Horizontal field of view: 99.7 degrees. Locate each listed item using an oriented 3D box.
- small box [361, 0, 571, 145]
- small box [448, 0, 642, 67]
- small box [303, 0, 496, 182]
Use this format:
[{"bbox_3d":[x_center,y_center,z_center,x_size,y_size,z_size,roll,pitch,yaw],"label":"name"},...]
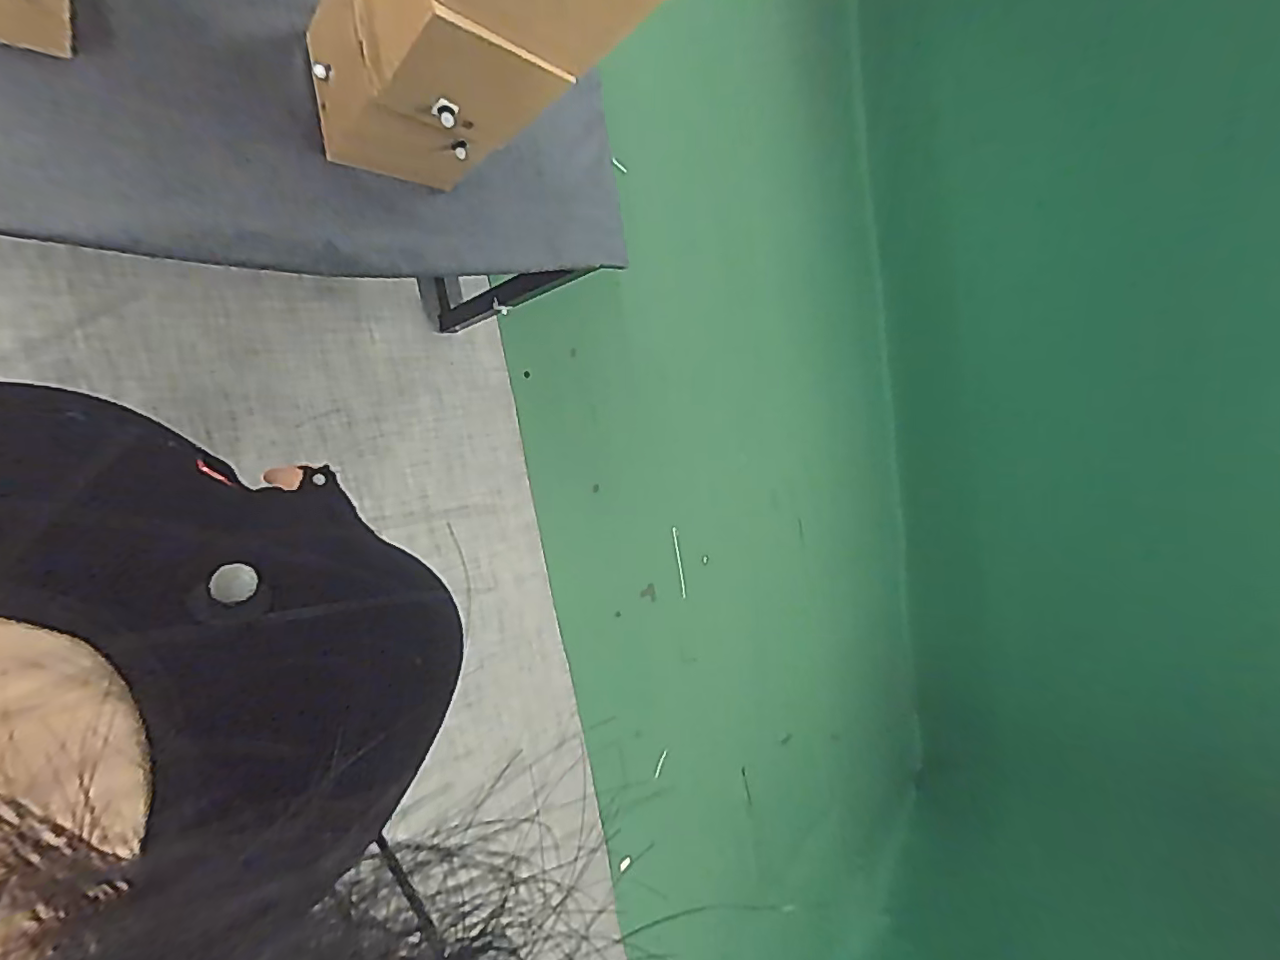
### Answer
[{"bbox_3d":[-0.197,-0.516,0.595,0.168,0.176,0.179,-9,96,-43],"label":"small box"},{"bbox_3d":[-0.081,-0.522,0.480,0.179,0.176,0.168,-7,94,-43],"label":"small box"},{"bbox_3d":[-0.312,-0.520,0.710,0.179,0.176,0.168,-12,96,-44],"label":"small box"}]
